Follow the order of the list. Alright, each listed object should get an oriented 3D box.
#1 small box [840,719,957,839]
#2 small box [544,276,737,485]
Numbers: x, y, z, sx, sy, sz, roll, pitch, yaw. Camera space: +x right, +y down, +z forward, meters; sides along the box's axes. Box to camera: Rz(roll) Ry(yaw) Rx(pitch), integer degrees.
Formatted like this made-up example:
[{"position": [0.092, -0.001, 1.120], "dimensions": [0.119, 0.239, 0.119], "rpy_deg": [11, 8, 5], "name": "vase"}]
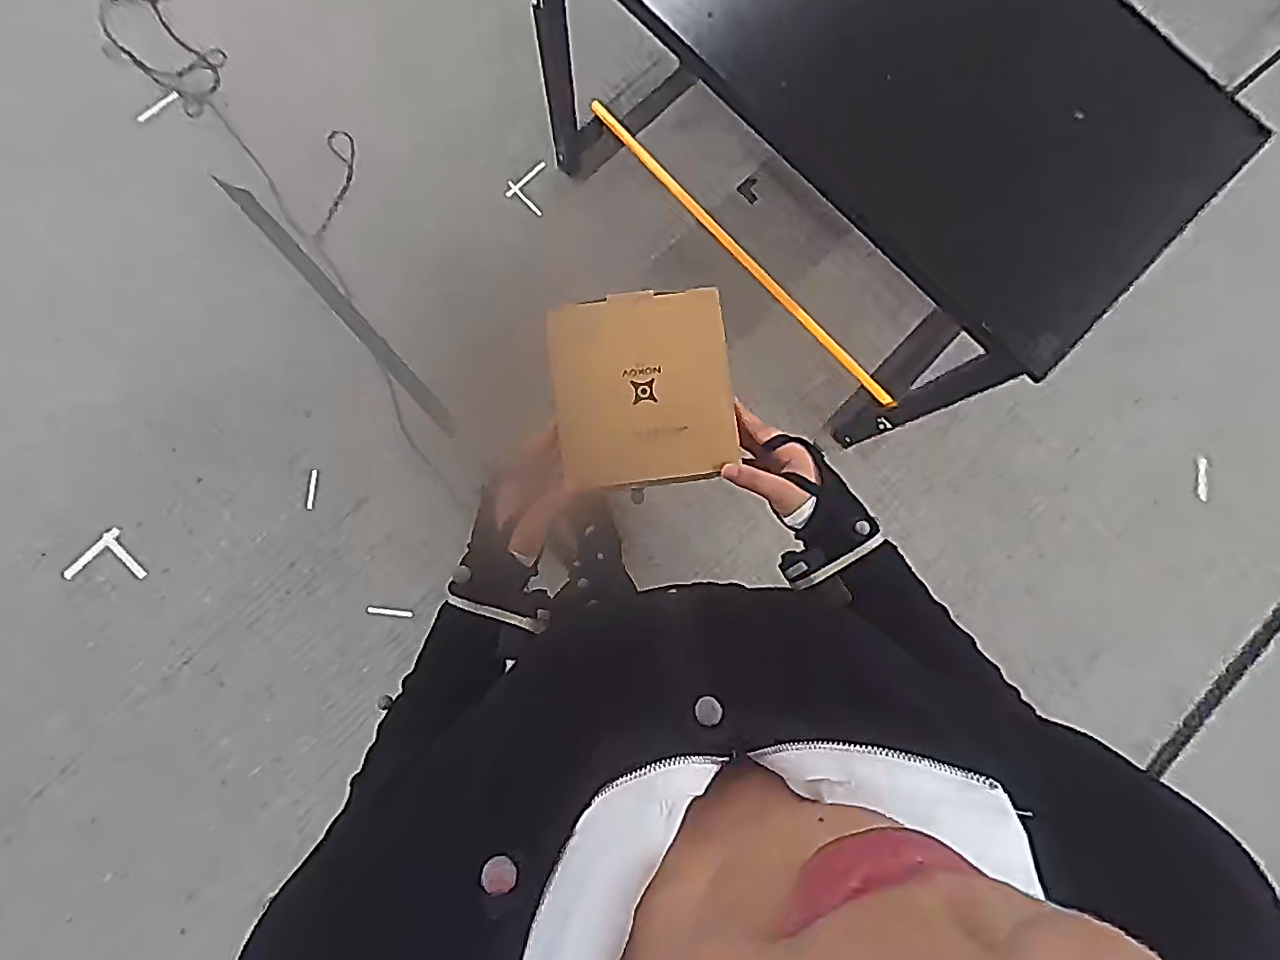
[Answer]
[{"position": [0.643, 0.745, 1.372], "dimensions": [0.168, 0.176, 0.179], "rpy_deg": [43, 84, 3], "name": "small box"}, {"position": [-0.005, -0.093, 0.577], "dimensions": [0.168, 0.176, 0.179], "rpy_deg": [-7, 88, -3], "name": "small box"}]
